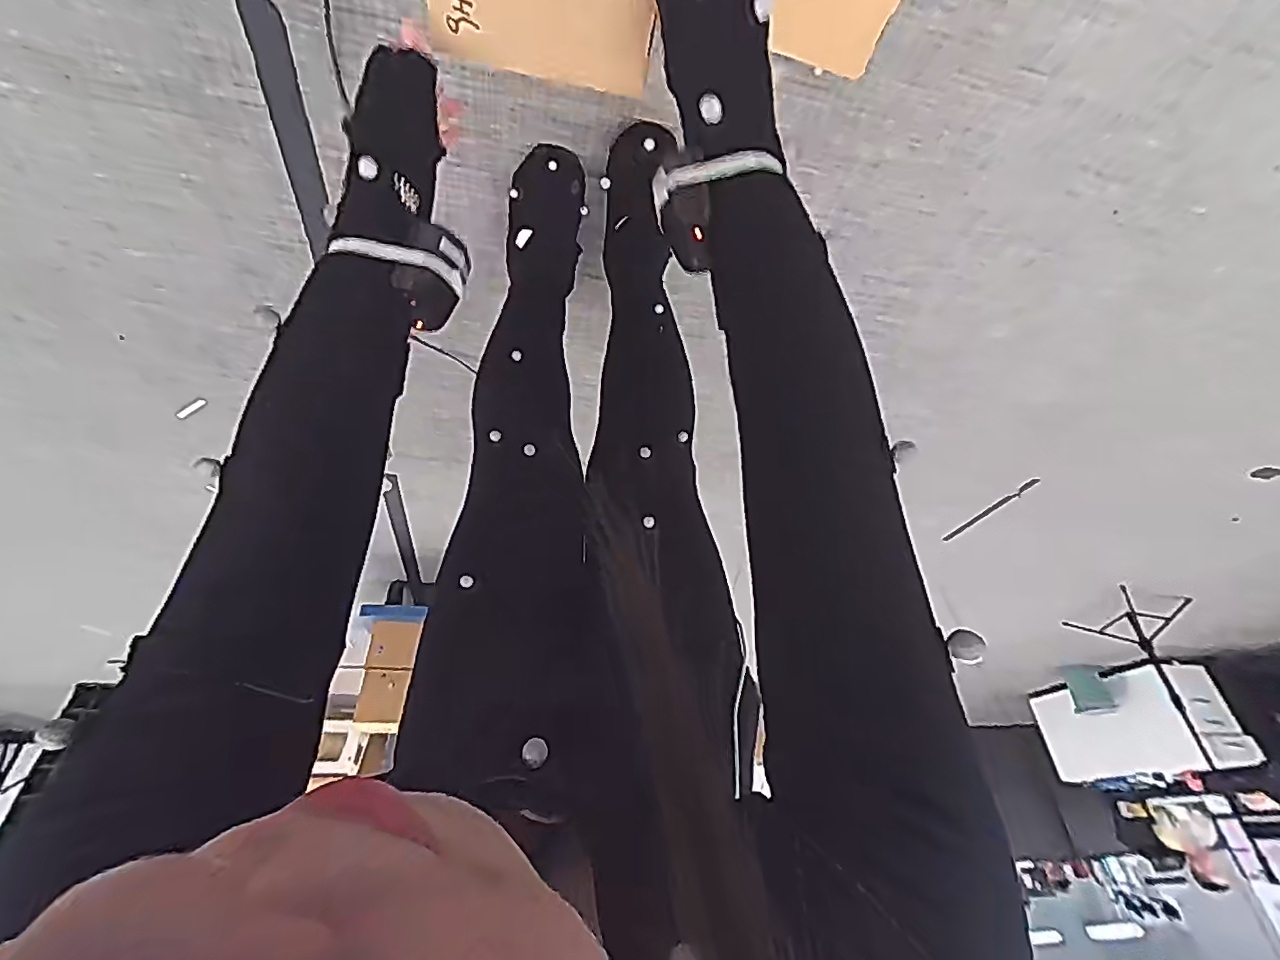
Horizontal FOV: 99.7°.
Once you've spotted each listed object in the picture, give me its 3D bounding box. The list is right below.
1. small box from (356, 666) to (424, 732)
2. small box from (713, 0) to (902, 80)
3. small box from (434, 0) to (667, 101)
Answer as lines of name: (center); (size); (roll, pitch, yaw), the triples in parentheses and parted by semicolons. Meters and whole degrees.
small box: (-0.826, 0.735, 1.807); (0.168, 0.176, 0.179); (7, 145, -13)
small box: (0.180, -0.565, 0.564); (0.179, 0.176, 0.168); (6, 145, -14)
small box: (-0.064, -0.446, 0.430); (0.179, 0.176, 0.168); (6, 145, -11)
